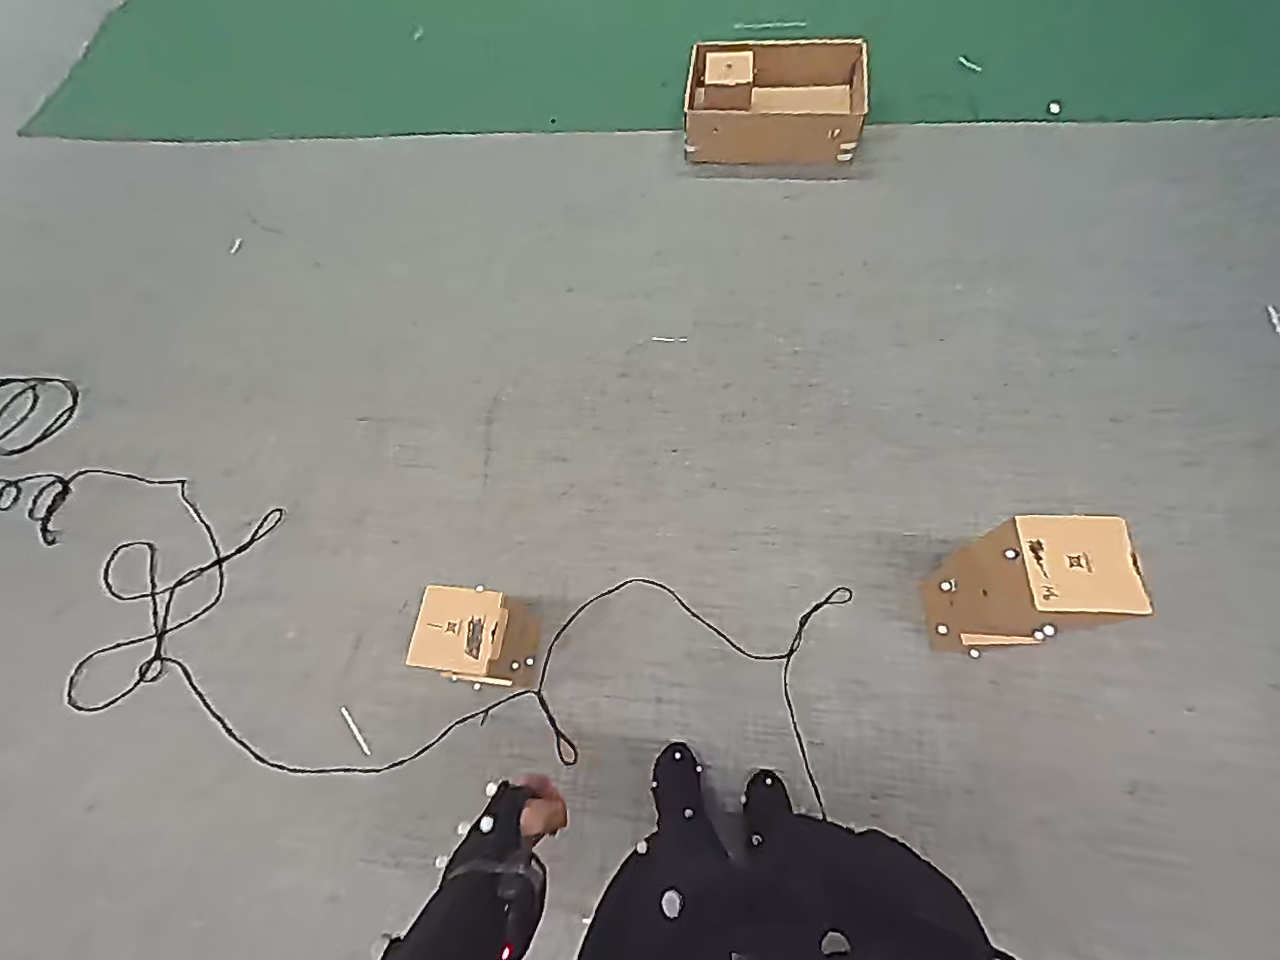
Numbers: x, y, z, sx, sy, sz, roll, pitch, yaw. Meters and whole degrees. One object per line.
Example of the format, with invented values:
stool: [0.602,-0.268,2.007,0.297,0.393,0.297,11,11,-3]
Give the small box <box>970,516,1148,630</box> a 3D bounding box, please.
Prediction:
small box: [0.734,0.172,0.970,0.179,0.176,0.168,2,67,5]

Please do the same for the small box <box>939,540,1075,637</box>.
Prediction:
small box: [0.755,0.230,1.122,0.179,0.176,0.168,1,66,7]

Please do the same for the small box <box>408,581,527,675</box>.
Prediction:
small box: [-0.363,0.327,1.176,0.179,0.176,0.168,5,67,9]

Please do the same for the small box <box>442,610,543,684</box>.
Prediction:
small box: [-0.349,0.401,1.323,0.179,0.176,0.168,5,67,8]

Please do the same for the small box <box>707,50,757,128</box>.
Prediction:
small box: [0.333,-1.418,1.965,0.168,0.176,0.179,3,68,6]
